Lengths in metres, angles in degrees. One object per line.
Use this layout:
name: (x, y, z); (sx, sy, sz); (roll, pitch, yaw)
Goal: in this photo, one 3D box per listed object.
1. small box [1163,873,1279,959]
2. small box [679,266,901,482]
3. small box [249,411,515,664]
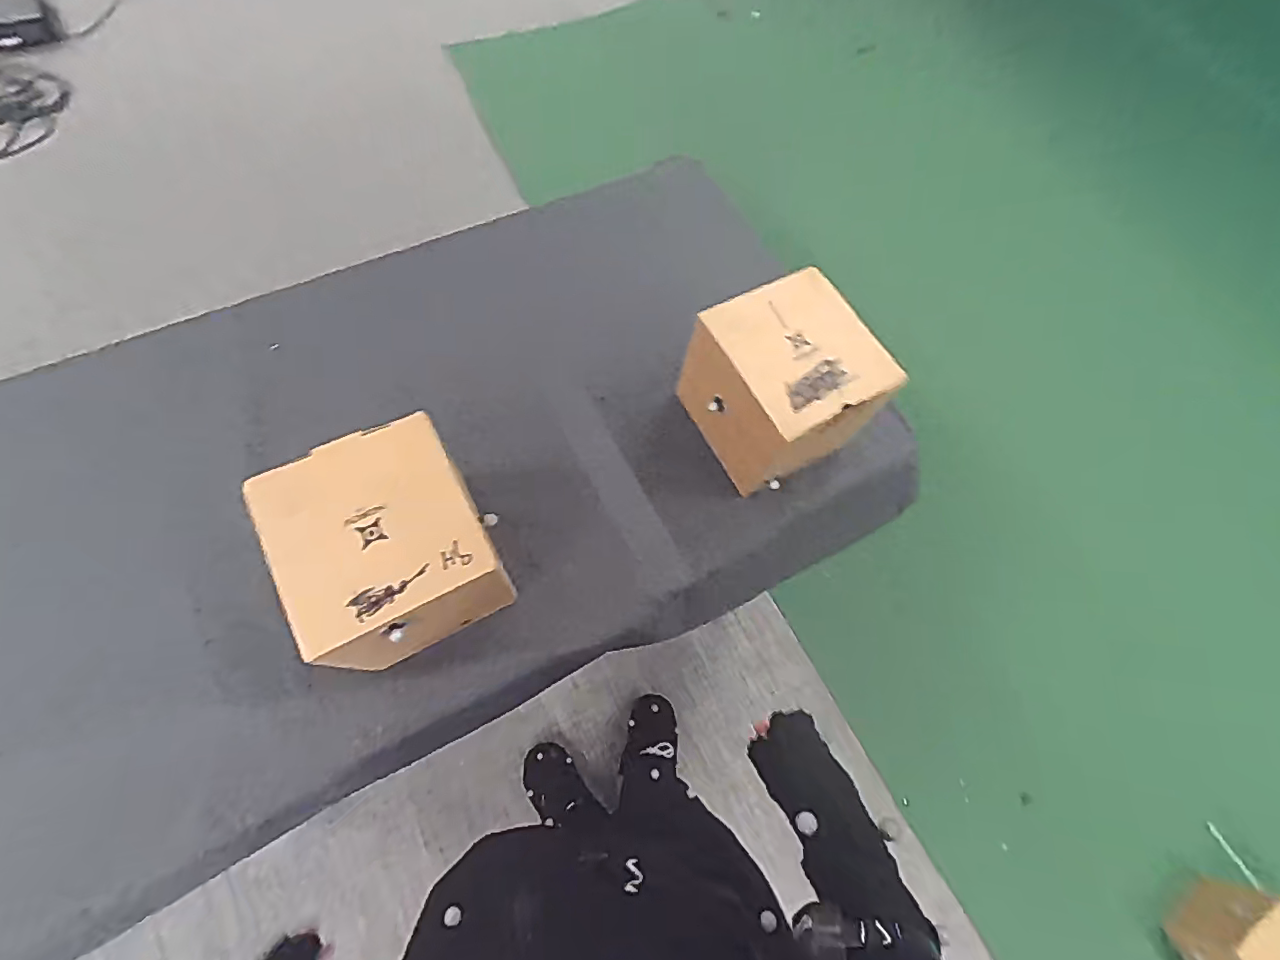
small box: (1.276, 0.969, 1.130); (0.179, 0.176, 0.168); (-24, 71, -14)
small box: (0.165, -0.115, 0.659); (0.168, 0.176, 0.179); (-26, 72, -15)
small box: (-0.242, 0.067, 0.546); (0.168, 0.176, 0.179); (-26, 73, -15)
